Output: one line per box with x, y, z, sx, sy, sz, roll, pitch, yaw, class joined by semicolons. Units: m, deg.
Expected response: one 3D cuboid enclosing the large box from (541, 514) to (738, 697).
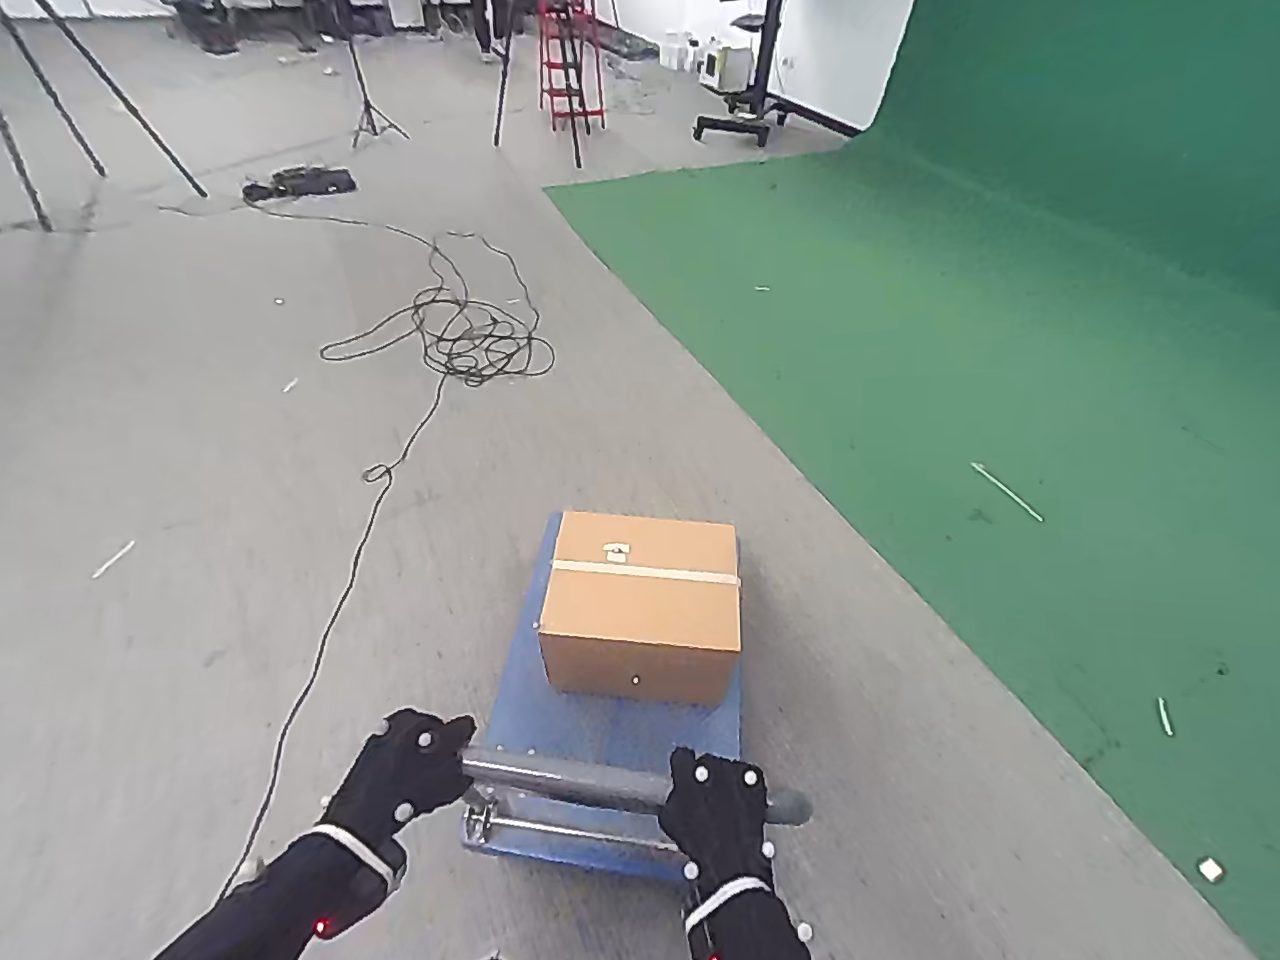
0.006;0.303;1.291;0.408;0.320;0.320;4;48;2;large box
